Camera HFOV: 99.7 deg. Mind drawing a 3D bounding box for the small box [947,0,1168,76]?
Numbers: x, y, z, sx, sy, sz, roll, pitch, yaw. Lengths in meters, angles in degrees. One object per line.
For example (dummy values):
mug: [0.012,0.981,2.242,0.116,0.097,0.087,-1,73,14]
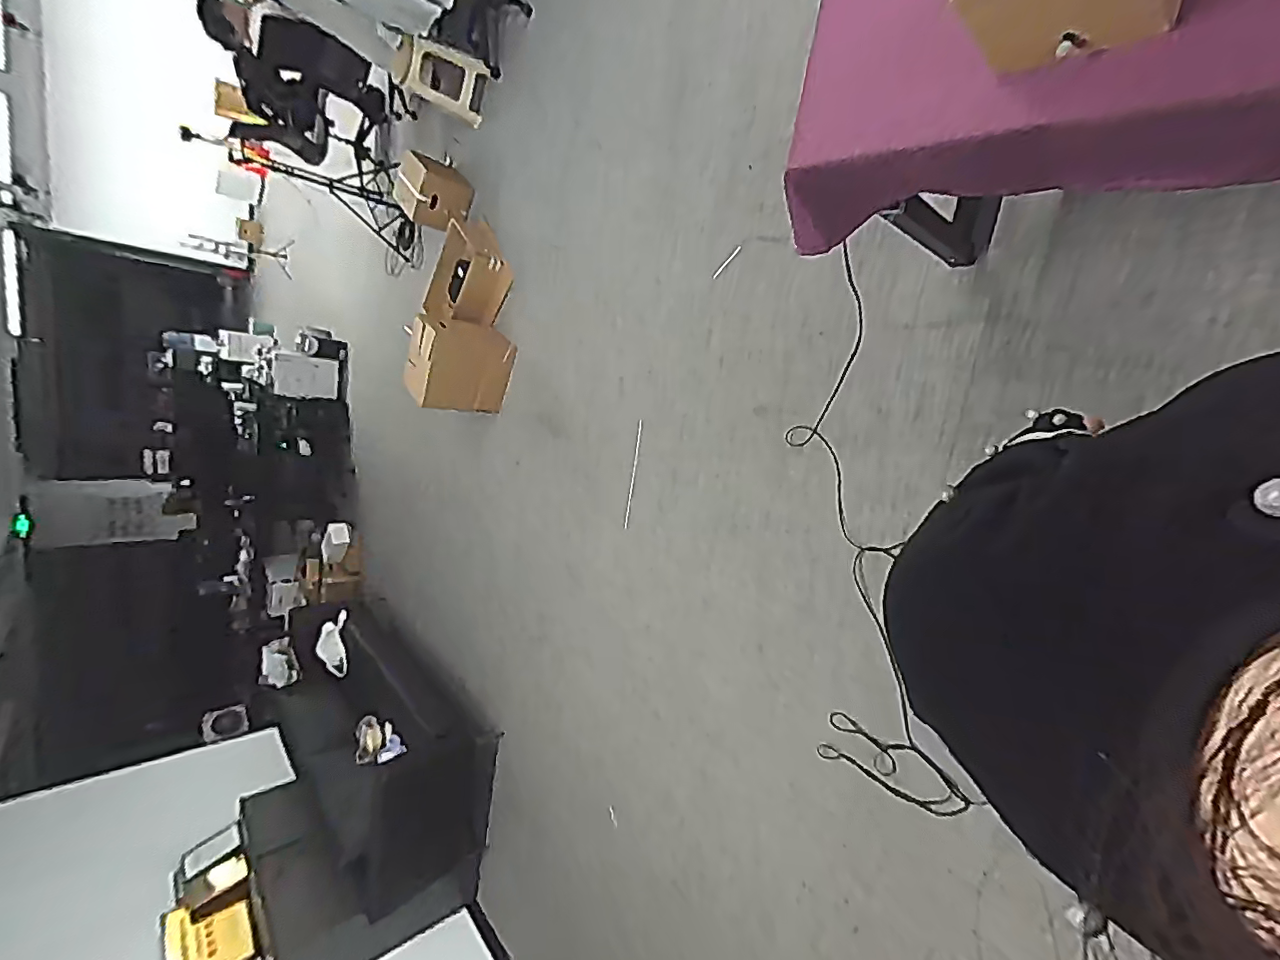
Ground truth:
small box: [0.468,-0.582,0.581,0.179,0.176,0.168,19,104,44]
